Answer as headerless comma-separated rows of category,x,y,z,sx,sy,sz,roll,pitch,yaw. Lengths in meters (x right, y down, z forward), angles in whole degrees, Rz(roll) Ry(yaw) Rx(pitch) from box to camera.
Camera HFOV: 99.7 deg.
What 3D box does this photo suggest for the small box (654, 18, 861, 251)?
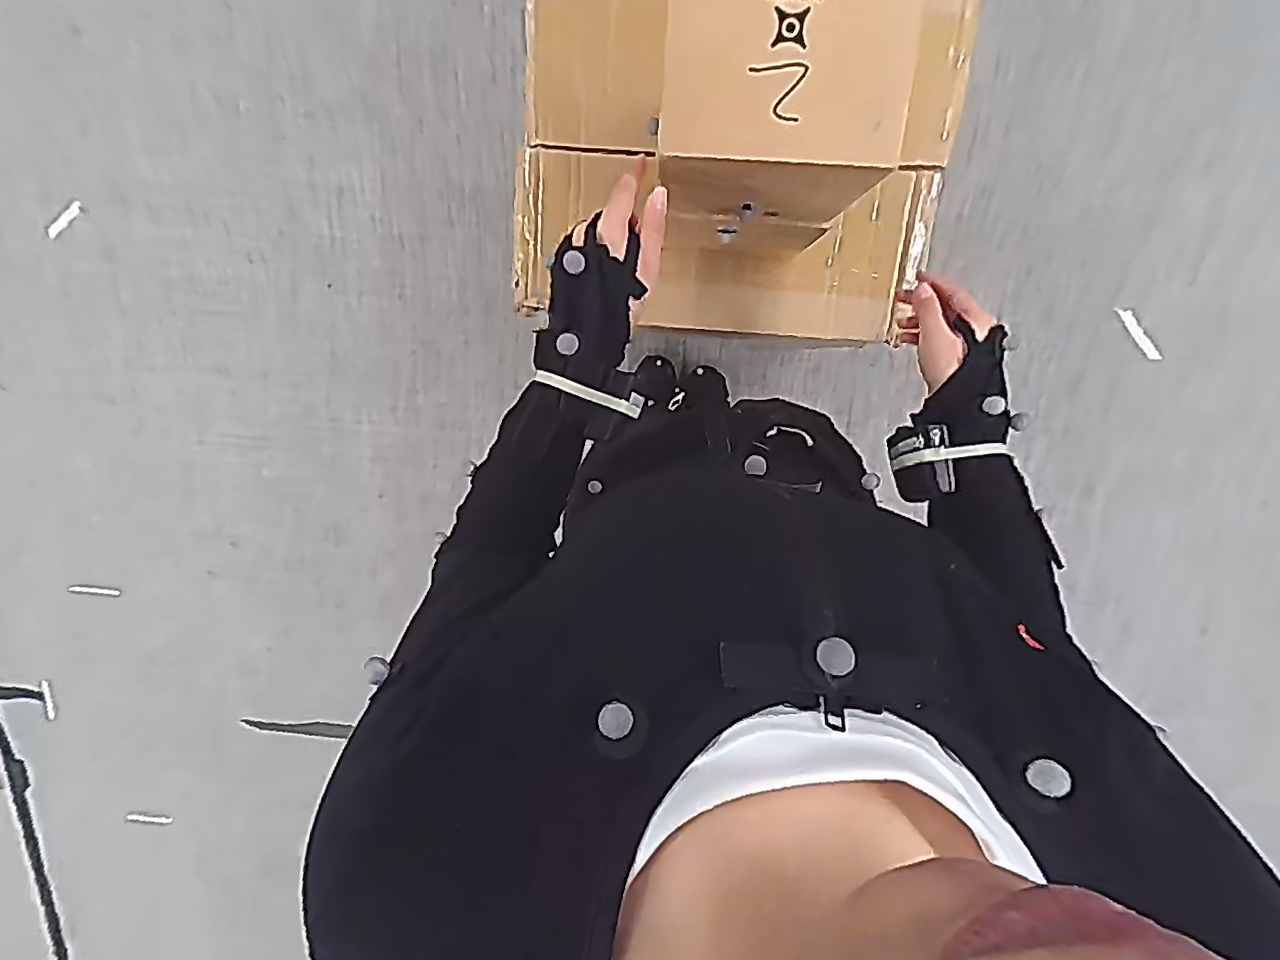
small box,0.112,-0.353,0.585,0.179,0.176,0.168,5,104,2
